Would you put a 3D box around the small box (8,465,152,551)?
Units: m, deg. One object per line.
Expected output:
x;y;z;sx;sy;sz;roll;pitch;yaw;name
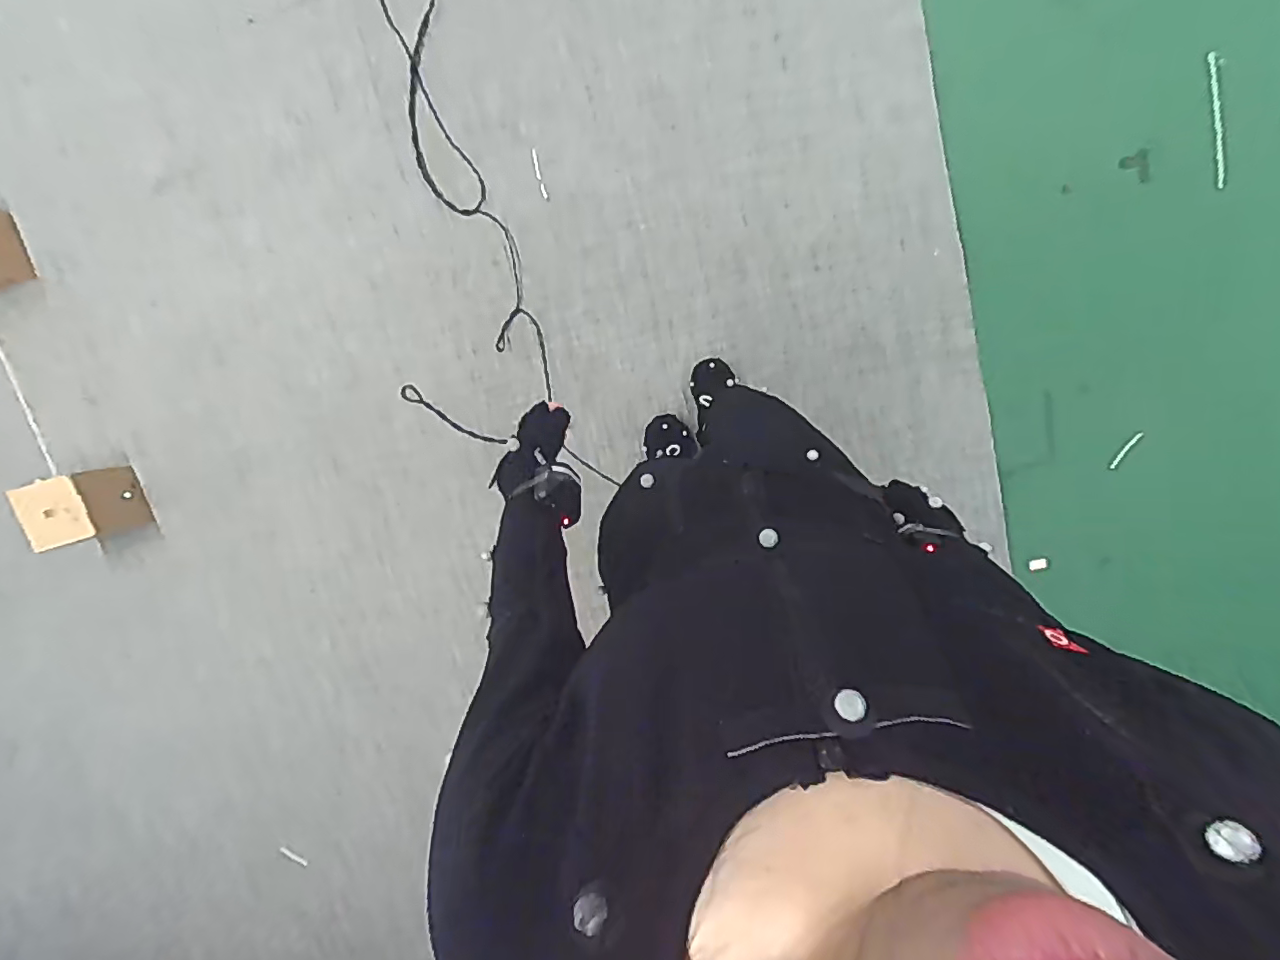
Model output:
-1.459;0.069;1.422;0.179;0.176;0.168;-16;100;3;small box

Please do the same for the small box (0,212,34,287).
-1.664;-0.576;1.312;0.168;0.176;0.179;-16;100;3;small box
